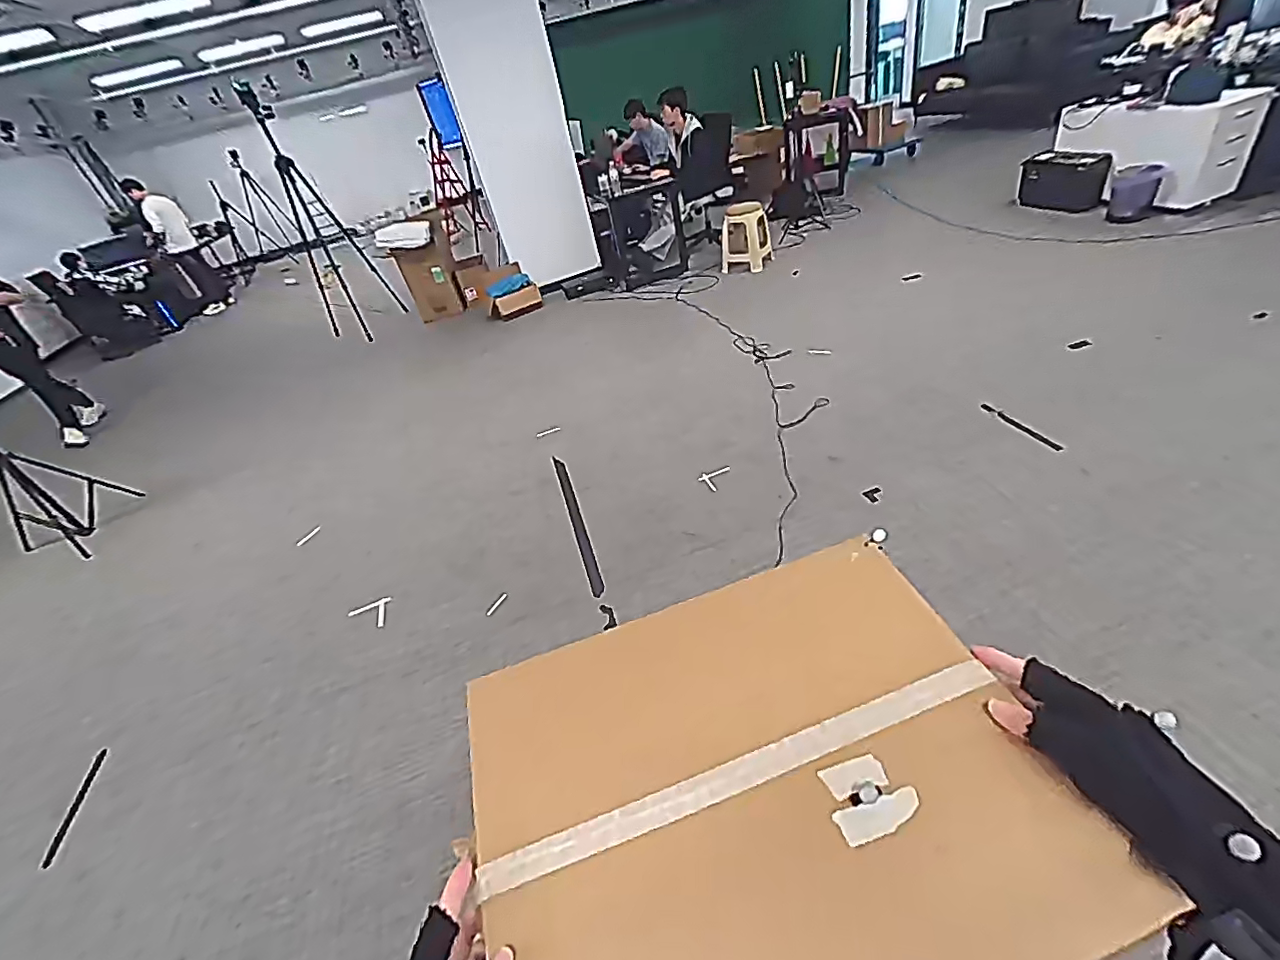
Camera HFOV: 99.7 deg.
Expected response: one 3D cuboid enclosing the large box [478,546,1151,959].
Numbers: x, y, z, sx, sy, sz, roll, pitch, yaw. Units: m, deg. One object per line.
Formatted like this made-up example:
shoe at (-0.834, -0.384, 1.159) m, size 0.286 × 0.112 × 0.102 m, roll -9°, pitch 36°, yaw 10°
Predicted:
large box at (0.105, 0.330, 0.509) m, size 0.408 × 0.320 × 0.320 m, roll -19°, pitch 43°, yaw -8°
